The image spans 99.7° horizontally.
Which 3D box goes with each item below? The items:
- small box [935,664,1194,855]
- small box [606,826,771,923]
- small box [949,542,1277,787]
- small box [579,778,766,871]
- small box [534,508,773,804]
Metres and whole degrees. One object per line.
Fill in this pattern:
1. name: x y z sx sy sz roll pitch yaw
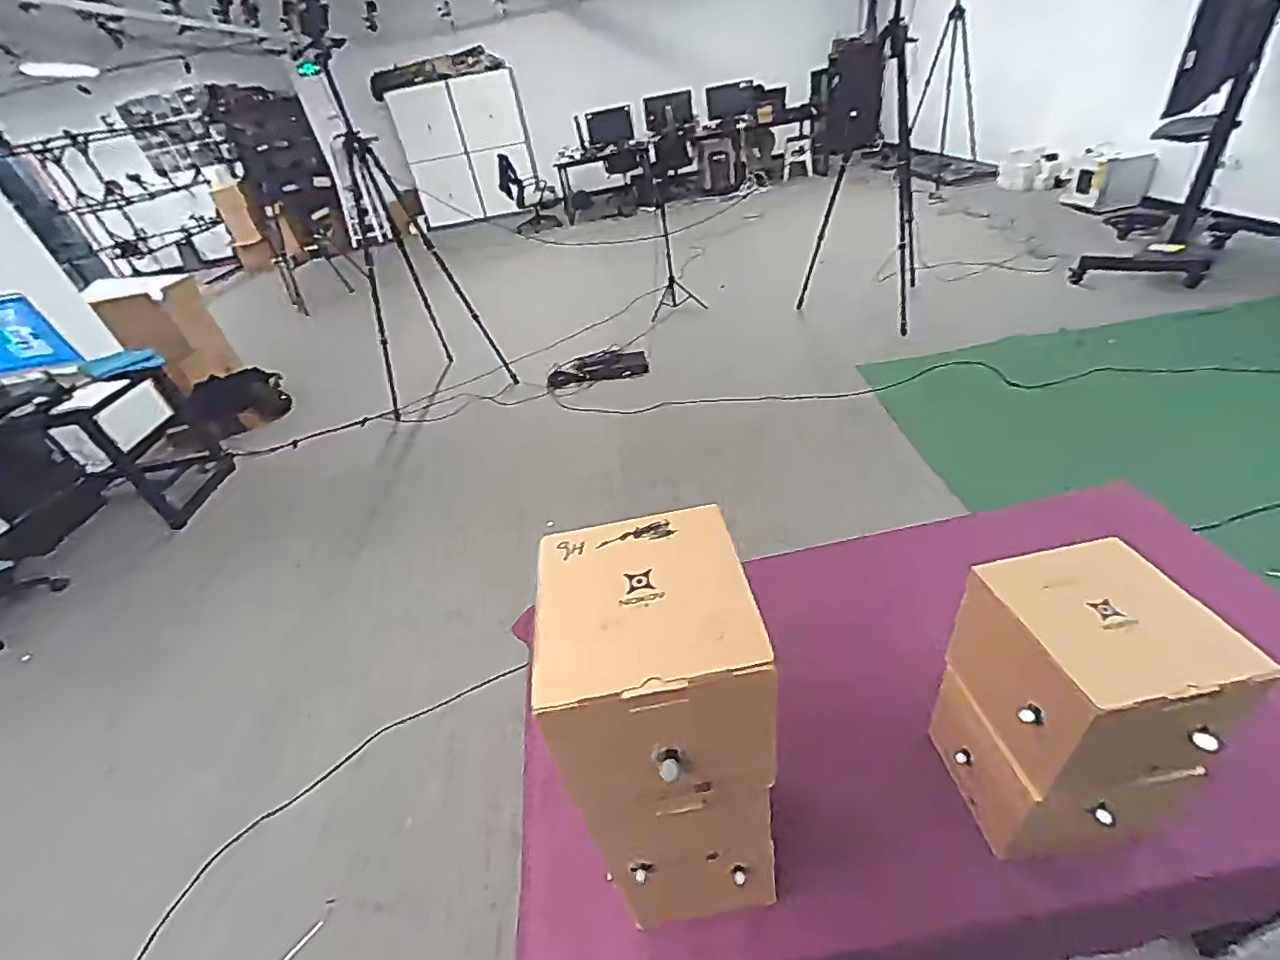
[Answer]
1. small box: 0.488 0.329 0.661 0.179 0.176 0.168 -10 37 2
2. small box: 0.056 0.413 0.668 0.179 0.176 0.168 -11 36 0
3. small box: 0.462 0.196 0.569 0.168 0.176 0.179 -11 36 -1
4. small box: 0.032 0.281 0.572 0.168 0.176 0.179 -11 35 -1
5. small box: 0.013 0.154 0.469 0.168 0.176 0.179 -10 37 0
